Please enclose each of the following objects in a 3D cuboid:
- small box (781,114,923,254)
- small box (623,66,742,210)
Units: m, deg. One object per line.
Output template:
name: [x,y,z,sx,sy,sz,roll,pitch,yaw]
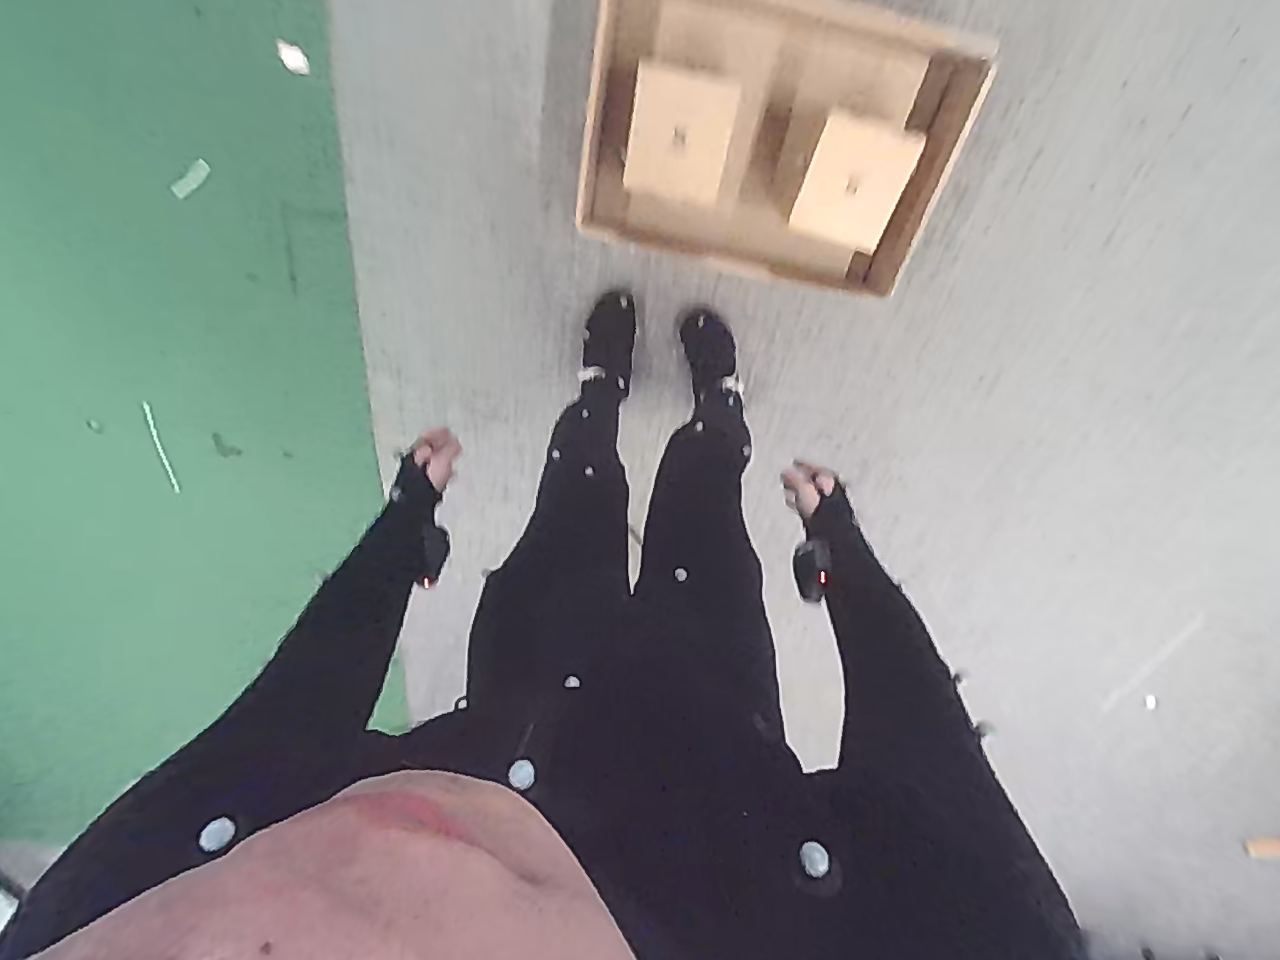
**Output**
small box: [0.364,-0.534,0.974,0.168,0.176,0.179,15,123,-4]
small box: [0.072,-0.601,0.956,0.168,0.176,0.179,11,123,-4]
